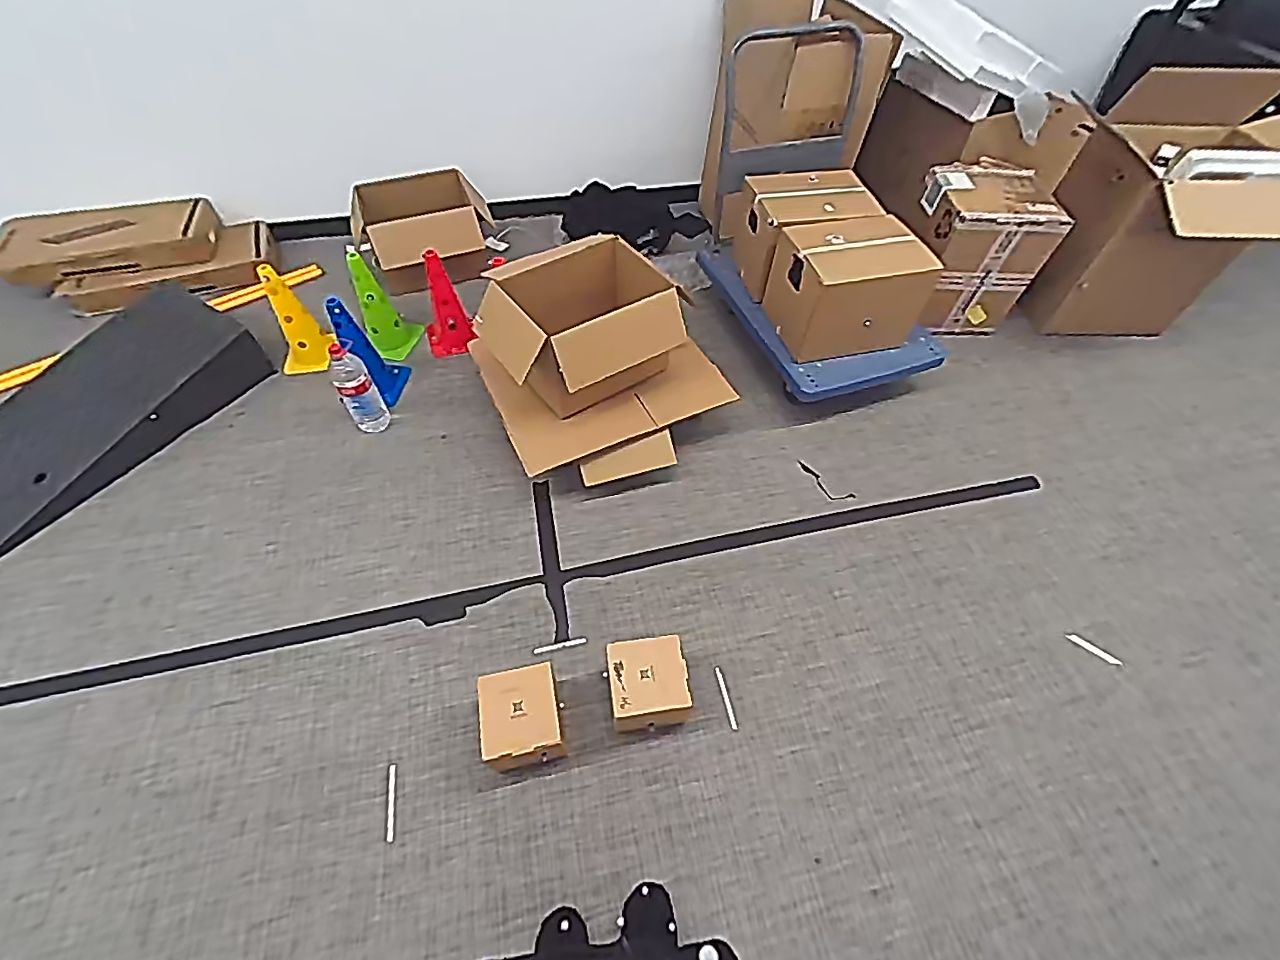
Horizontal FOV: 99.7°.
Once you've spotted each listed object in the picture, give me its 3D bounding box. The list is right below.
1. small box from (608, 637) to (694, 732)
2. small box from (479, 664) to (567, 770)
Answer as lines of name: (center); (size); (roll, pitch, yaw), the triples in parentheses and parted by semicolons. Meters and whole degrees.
small box: (0.019, 0.487, 1.282); (0.179, 0.176, 0.168); (-5, 56, -7)
small box: (-0.262, 0.544, 1.229); (0.168, 0.176, 0.179); (-10, 55, -11)
